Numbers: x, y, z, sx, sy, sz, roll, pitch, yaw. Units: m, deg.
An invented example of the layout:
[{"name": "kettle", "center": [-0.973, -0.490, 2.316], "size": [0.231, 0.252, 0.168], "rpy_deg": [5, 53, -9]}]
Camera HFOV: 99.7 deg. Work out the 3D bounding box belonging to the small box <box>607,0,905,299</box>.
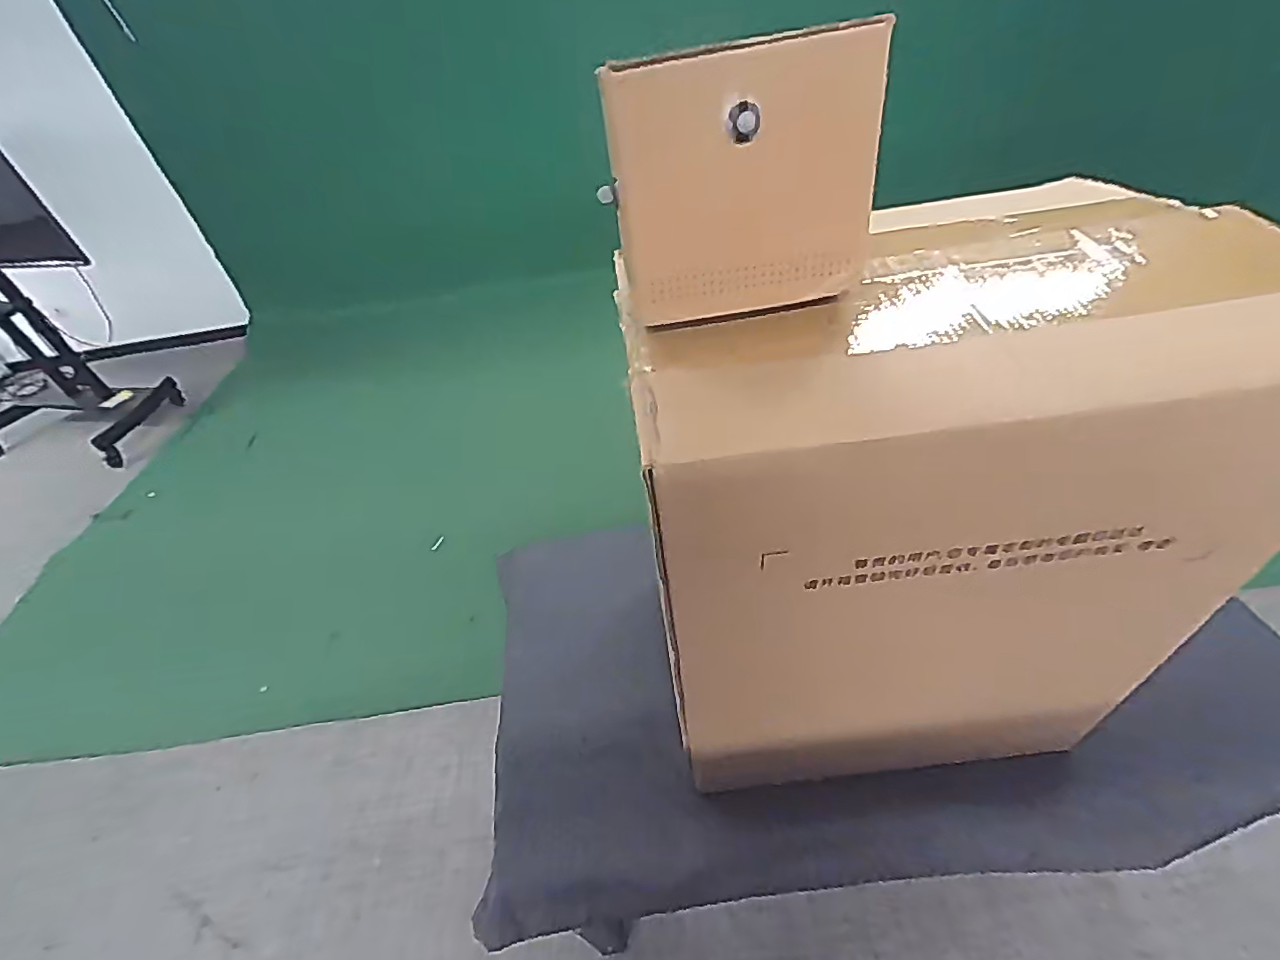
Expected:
[{"name": "small box", "center": [0.074, -0.253, 0.426], "size": [0.179, 0.176, 0.168], "rpy_deg": [-7, 37, -2]}]
